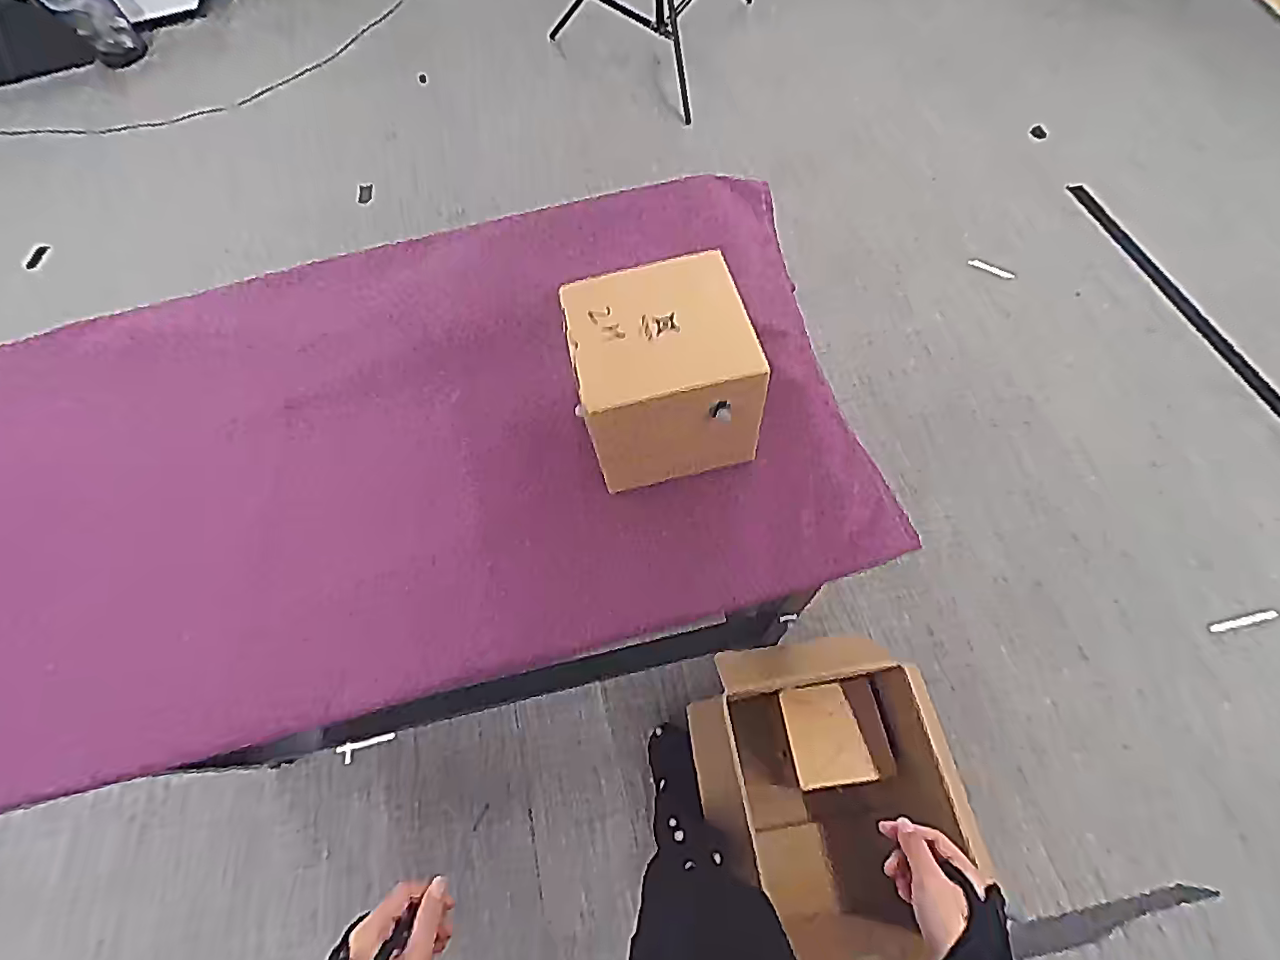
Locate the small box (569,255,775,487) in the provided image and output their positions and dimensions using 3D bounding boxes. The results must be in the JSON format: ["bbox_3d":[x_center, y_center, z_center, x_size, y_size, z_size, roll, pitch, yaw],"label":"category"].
[{"bbox_3d":[0.031,-0.112,0.600,0.179,0.176,0.168,-13,62,-1],"label":"small box"}]
